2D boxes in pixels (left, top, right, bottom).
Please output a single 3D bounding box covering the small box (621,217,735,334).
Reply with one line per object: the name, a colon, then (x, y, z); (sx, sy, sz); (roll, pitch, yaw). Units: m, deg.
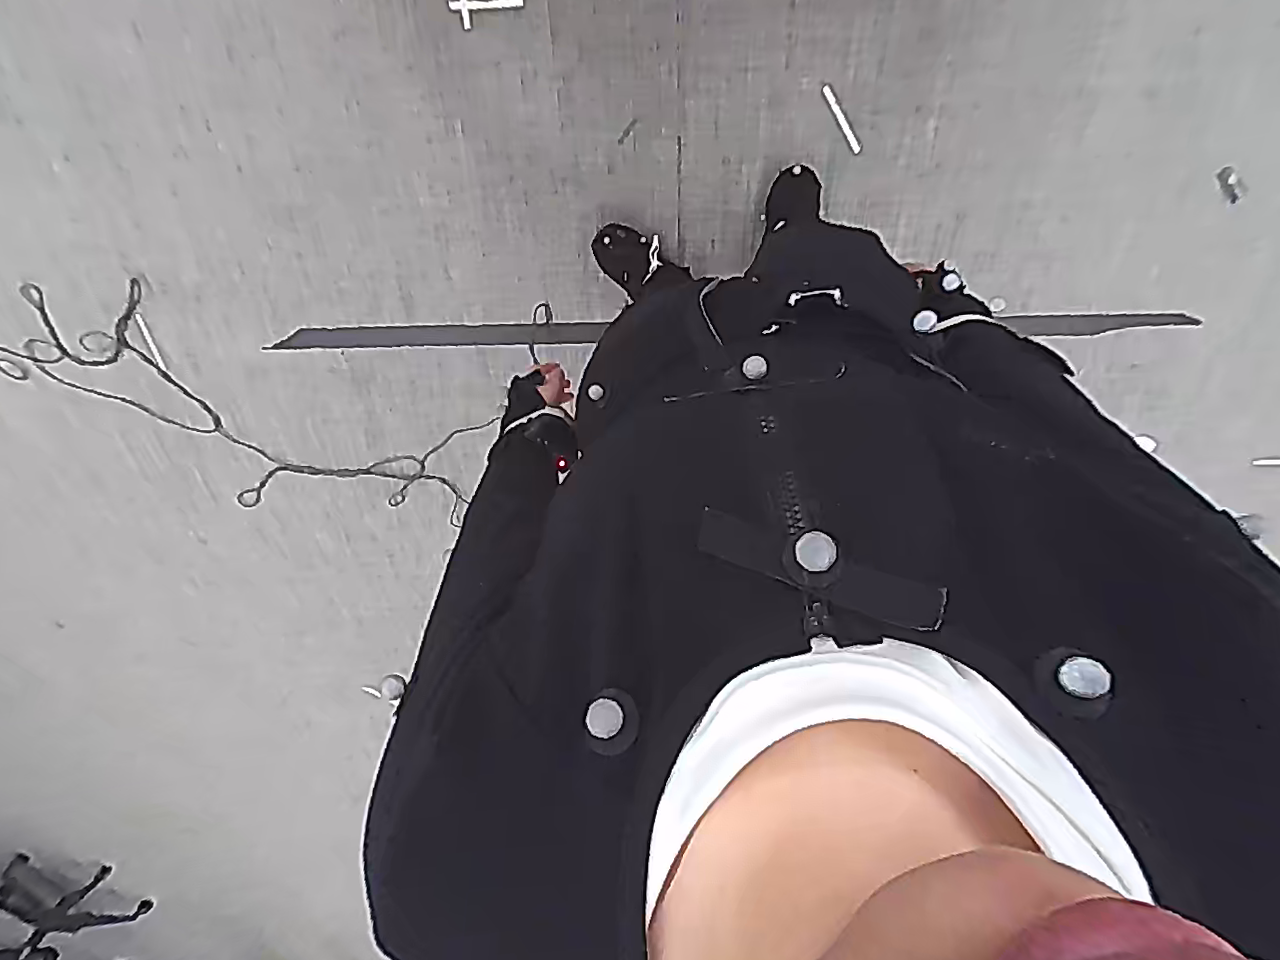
small box: (0.074, -0.426, 1.129); (0.179, 0.176, 0.168); (-41, 110, 17)
